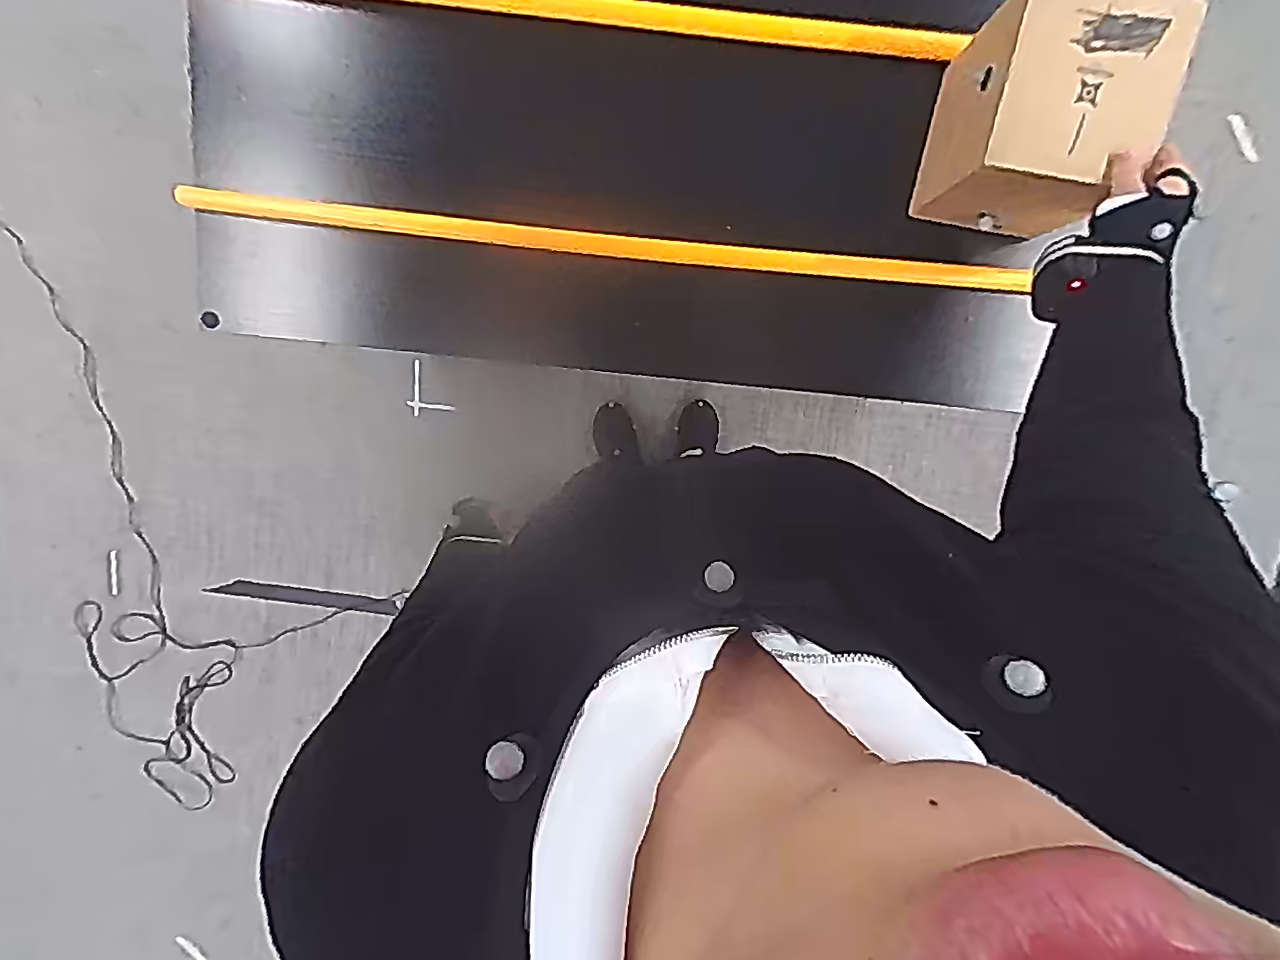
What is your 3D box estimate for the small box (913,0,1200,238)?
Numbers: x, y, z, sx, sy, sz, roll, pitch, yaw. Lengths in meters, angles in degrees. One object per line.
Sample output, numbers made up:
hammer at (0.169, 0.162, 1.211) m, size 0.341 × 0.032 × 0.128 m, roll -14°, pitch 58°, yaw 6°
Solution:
small box at (0.436, -0.395, 0.602) m, size 0.168 × 0.176 × 0.179 m, roll 11°, pitch 100°, yaw 0°
